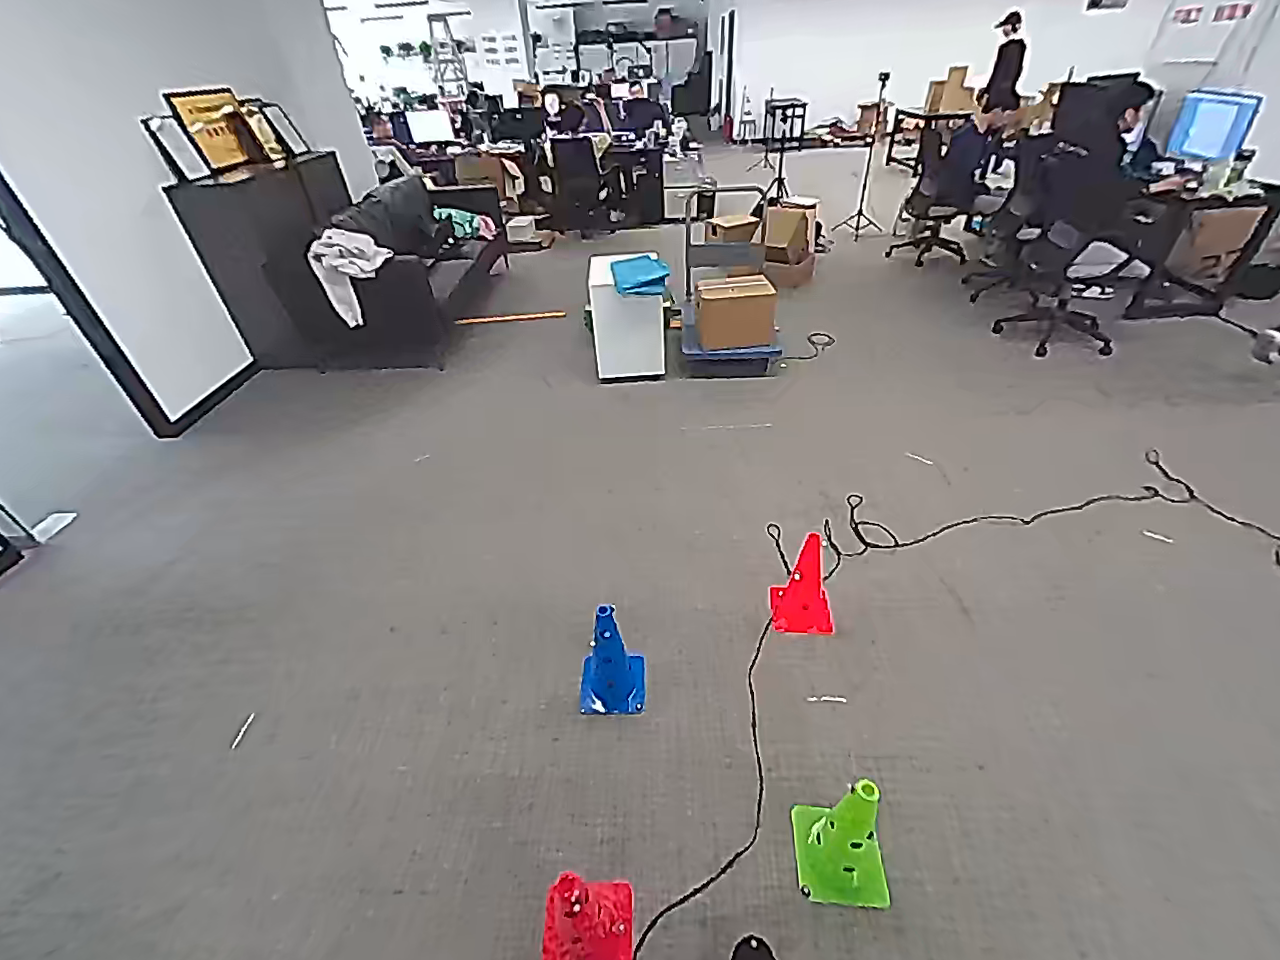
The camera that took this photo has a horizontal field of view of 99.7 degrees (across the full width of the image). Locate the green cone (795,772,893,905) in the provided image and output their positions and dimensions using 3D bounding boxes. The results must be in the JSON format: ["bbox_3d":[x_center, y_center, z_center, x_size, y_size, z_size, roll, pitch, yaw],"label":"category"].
[{"bbox_3d":[0.475,0.754,1.191,0.200,0.368,0.202,1,37,5],"label":"green cone"}]

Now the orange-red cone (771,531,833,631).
[{"bbox_3d":[0.545,0.307,1.767,0.198,0.360,0.199,1,39,8],"label":"orange-red cone"}]
